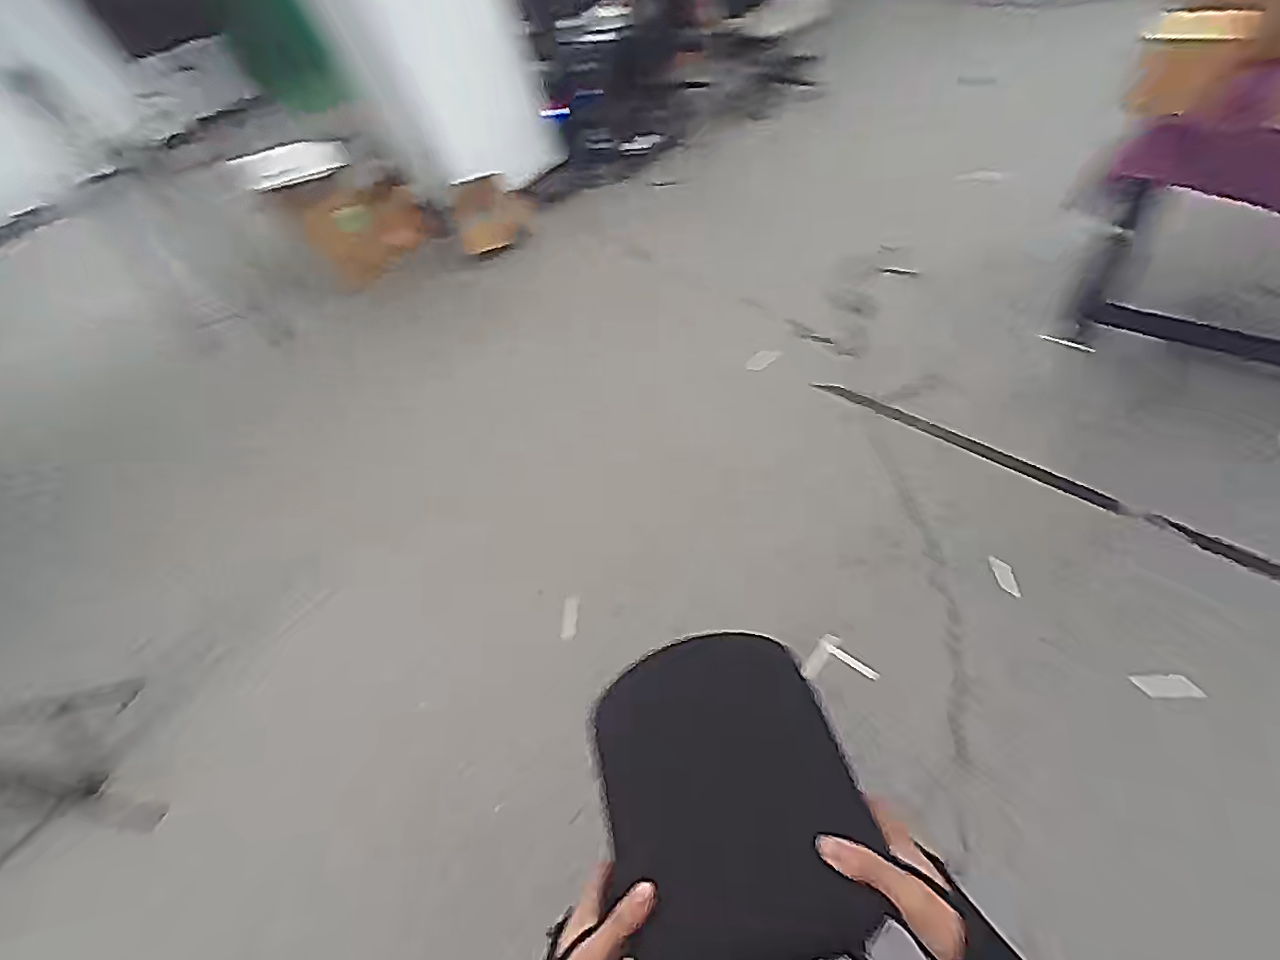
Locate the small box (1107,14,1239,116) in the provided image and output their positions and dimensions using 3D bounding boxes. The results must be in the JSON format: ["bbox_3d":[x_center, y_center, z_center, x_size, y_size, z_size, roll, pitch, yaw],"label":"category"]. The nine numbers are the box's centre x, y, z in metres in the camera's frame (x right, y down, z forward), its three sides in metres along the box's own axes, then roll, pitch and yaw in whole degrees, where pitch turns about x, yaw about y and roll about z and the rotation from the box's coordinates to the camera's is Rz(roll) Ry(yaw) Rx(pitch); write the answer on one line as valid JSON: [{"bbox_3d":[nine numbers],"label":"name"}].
[{"bbox_3d":[1.375,-1.076,1.408,0.179,0.176,0.168,31,67,33],"label":"small box"}]
